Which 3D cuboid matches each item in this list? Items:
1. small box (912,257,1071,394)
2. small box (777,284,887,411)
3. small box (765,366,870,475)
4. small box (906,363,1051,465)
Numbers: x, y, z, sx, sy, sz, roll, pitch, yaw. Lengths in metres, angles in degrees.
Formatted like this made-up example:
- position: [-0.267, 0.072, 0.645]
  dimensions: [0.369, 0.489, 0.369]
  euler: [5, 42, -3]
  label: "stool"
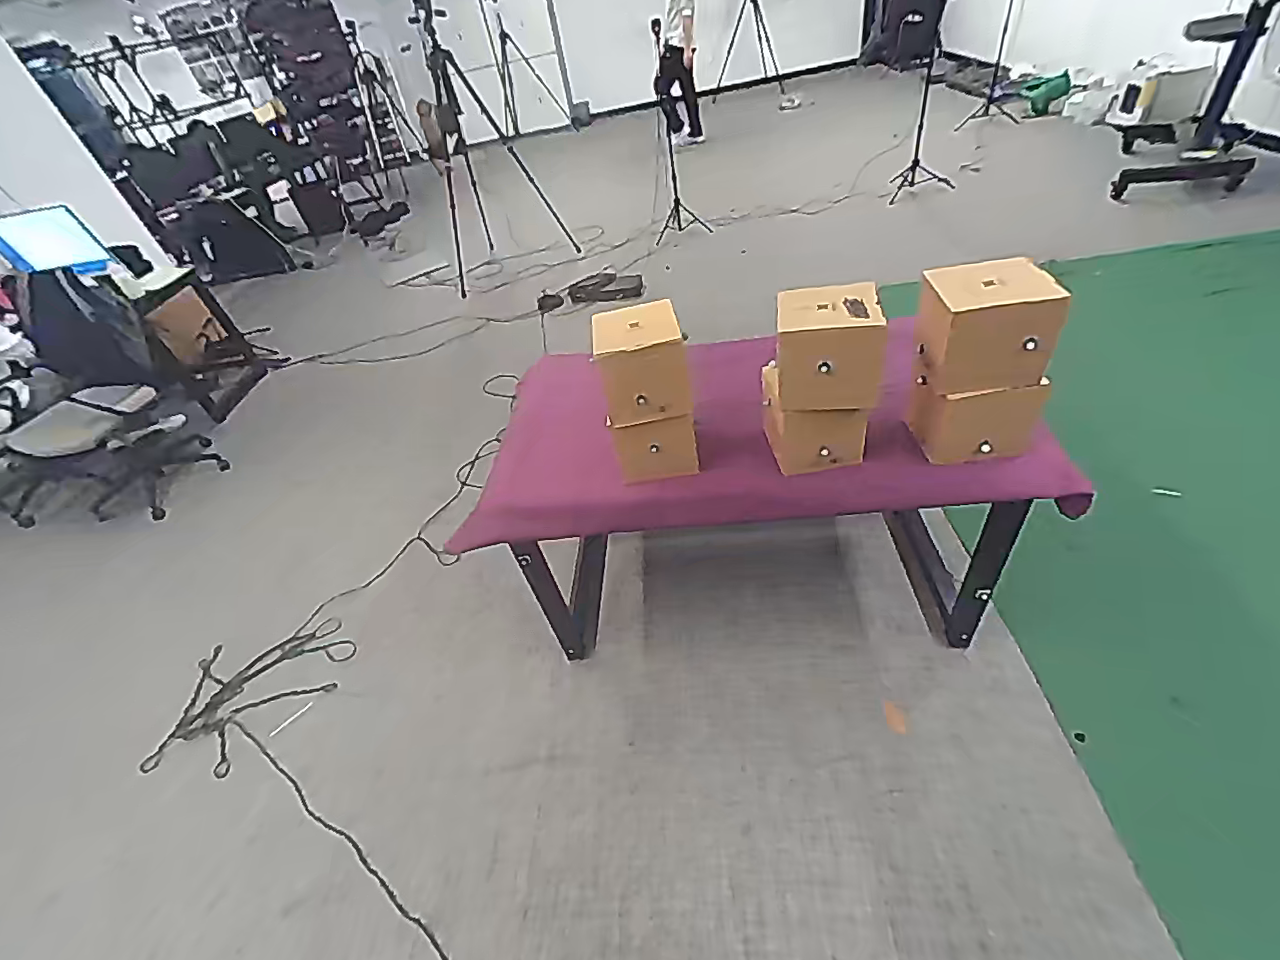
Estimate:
- position: [0.611, -0.273, 0.968]
  dimensions: [0.179, 0.176, 0.168]
  euler: [-5, 42, 11]
  label: "small box"
- position: [0.347, -0.242, 1.005]
  dimensions: [0.179, 0.176, 0.168]
  euler: [-1, 42, 16]
  label: "small box"
- position: [0.362, -0.136, 1.133]
  dimensions: [0.168, 0.176, 0.179]
  euler: [-10, 41, 5]
  label: "small box"
- position: [0.653, -0.150, 1.069]
  dimensions: [0.179, 0.176, 0.168]
  euler: [-9, 42, 7]
  label: "small box"
